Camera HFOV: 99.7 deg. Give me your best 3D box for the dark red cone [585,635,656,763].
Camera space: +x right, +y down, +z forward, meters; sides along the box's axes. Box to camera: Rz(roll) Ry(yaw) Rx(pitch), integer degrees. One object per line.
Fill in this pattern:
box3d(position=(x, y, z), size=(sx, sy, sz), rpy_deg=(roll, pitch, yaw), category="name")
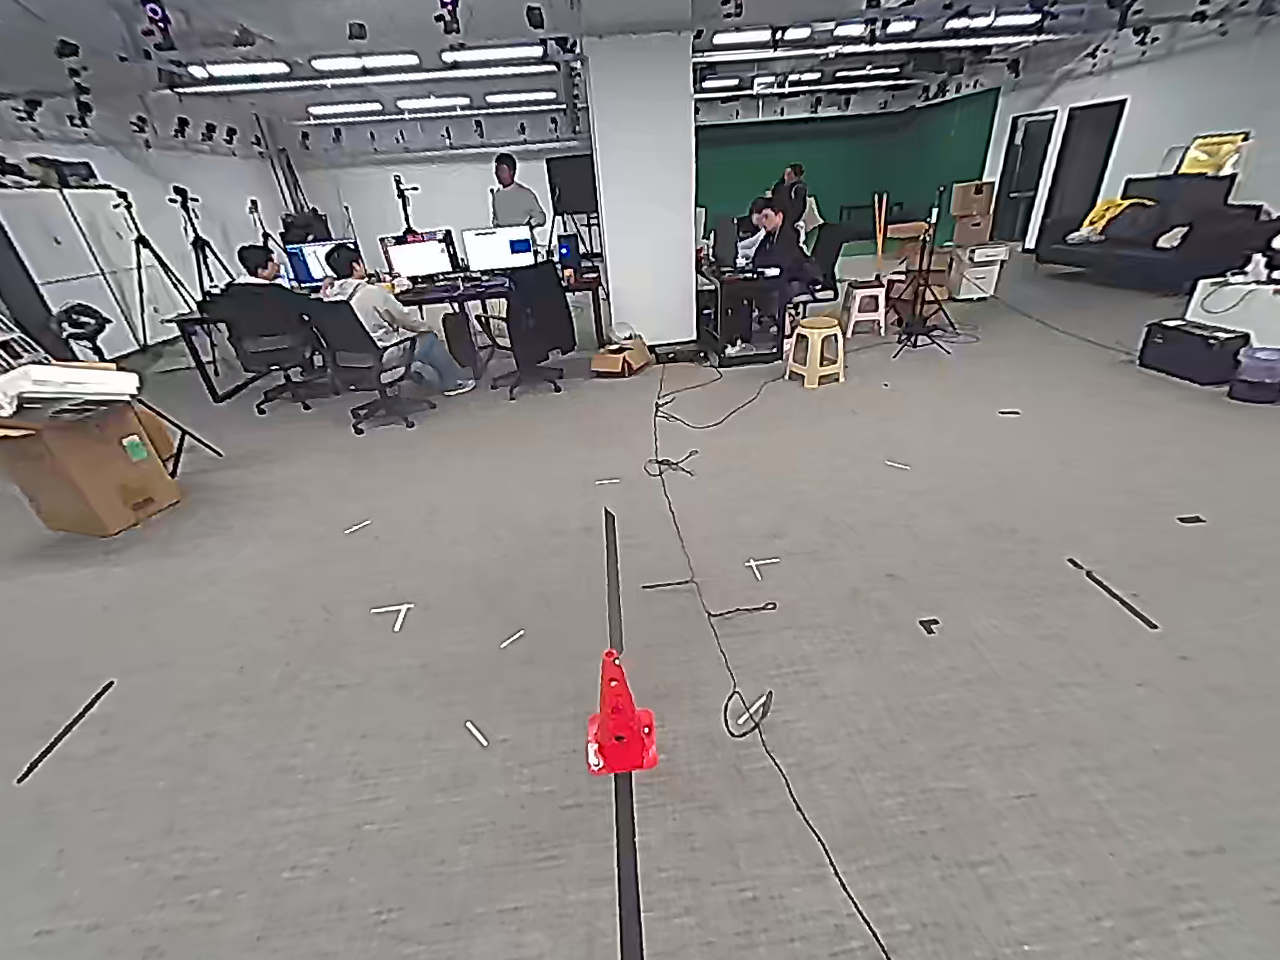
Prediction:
box3d(position=(-0.069, 0.601, 1.525), size=(0.201, 0.394, 0.202), rpy_deg=(-5, 28, -4), category="dark red cone")
